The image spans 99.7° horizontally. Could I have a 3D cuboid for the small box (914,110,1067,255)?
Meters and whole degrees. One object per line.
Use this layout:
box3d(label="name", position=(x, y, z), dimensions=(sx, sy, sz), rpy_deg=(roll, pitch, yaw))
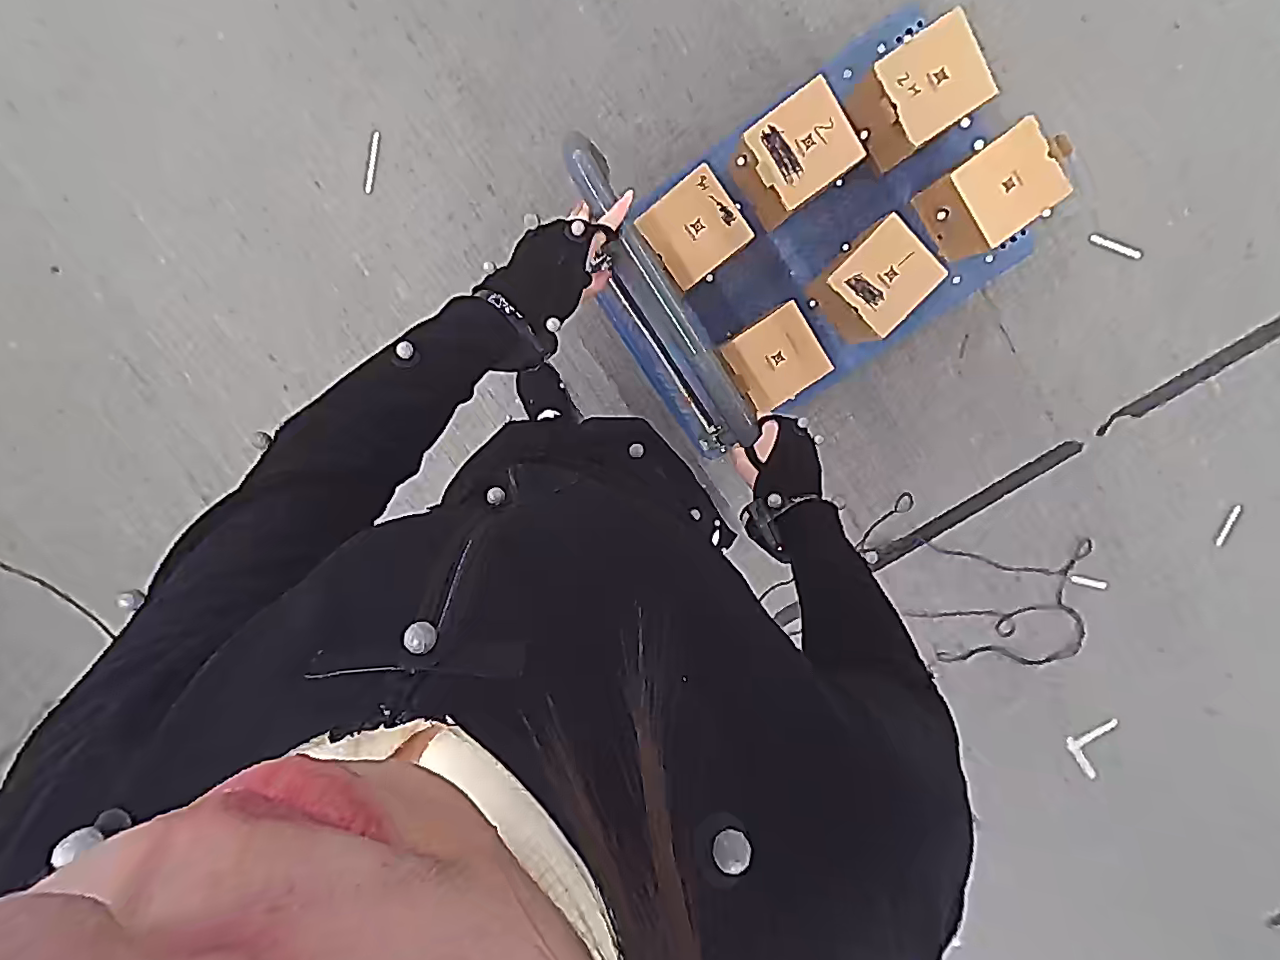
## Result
box3d(label="small box", position=(0.693, -0.587, 1.098), dimensions=(0.179, 0.176, 0.168), rpy_deg=(-37, 100, 7))

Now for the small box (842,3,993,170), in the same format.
box3d(label="small box", position=(0.531, -0.754, 1.059), dimensions=(0.179, 0.176, 0.168), rpy_deg=(-32, 100, 7))

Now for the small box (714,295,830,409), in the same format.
box3d(label="small box", position=(0.272, -0.271, 1.168), dimensions=(0.179, 0.176, 0.168), rpy_deg=(-33, 101, 7))

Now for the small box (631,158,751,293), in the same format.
box3d(label="small box", position=(0.100, -0.509, 1.113), dimensions=(0.179, 0.176, 0.168), rpy_deg=(-37, 101, 8))

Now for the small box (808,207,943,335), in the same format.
box3d(label="small box", position=(0.477, -0.424, 1.133), dimensions=(0.168, 0.176, 0.179), rpy_deg=(43, 98, -9))
